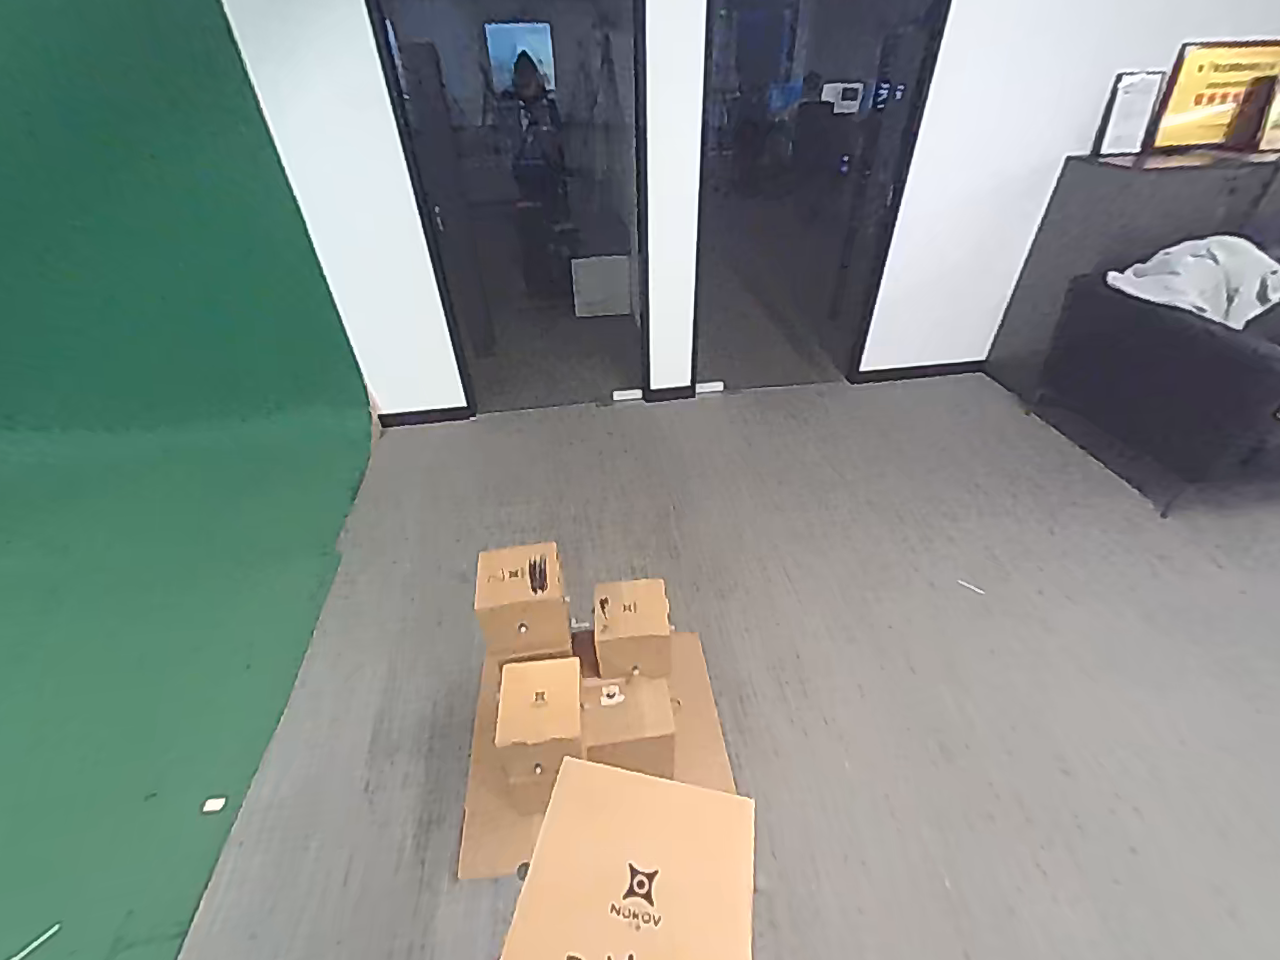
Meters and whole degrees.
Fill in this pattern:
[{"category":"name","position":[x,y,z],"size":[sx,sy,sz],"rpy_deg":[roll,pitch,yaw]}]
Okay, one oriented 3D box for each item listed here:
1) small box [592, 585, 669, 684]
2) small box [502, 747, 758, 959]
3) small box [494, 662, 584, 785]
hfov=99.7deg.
[{"category":"small box","position":[-0.023,0.377,1.321],"size":[0.179,0.176,0.168],"rpy_deg":[-4,38,-1]},{"category":"small box","position":[-0.004,0.358,0.436],"size":[0.168,0.176,0.179],"rpy_deg":[9,35,8]},{"category":"small box","position":[-0.208,0.516,1.150],"size":[0.168,0.176,0.179],"rpy_deg":[-4,40,-5]}]
